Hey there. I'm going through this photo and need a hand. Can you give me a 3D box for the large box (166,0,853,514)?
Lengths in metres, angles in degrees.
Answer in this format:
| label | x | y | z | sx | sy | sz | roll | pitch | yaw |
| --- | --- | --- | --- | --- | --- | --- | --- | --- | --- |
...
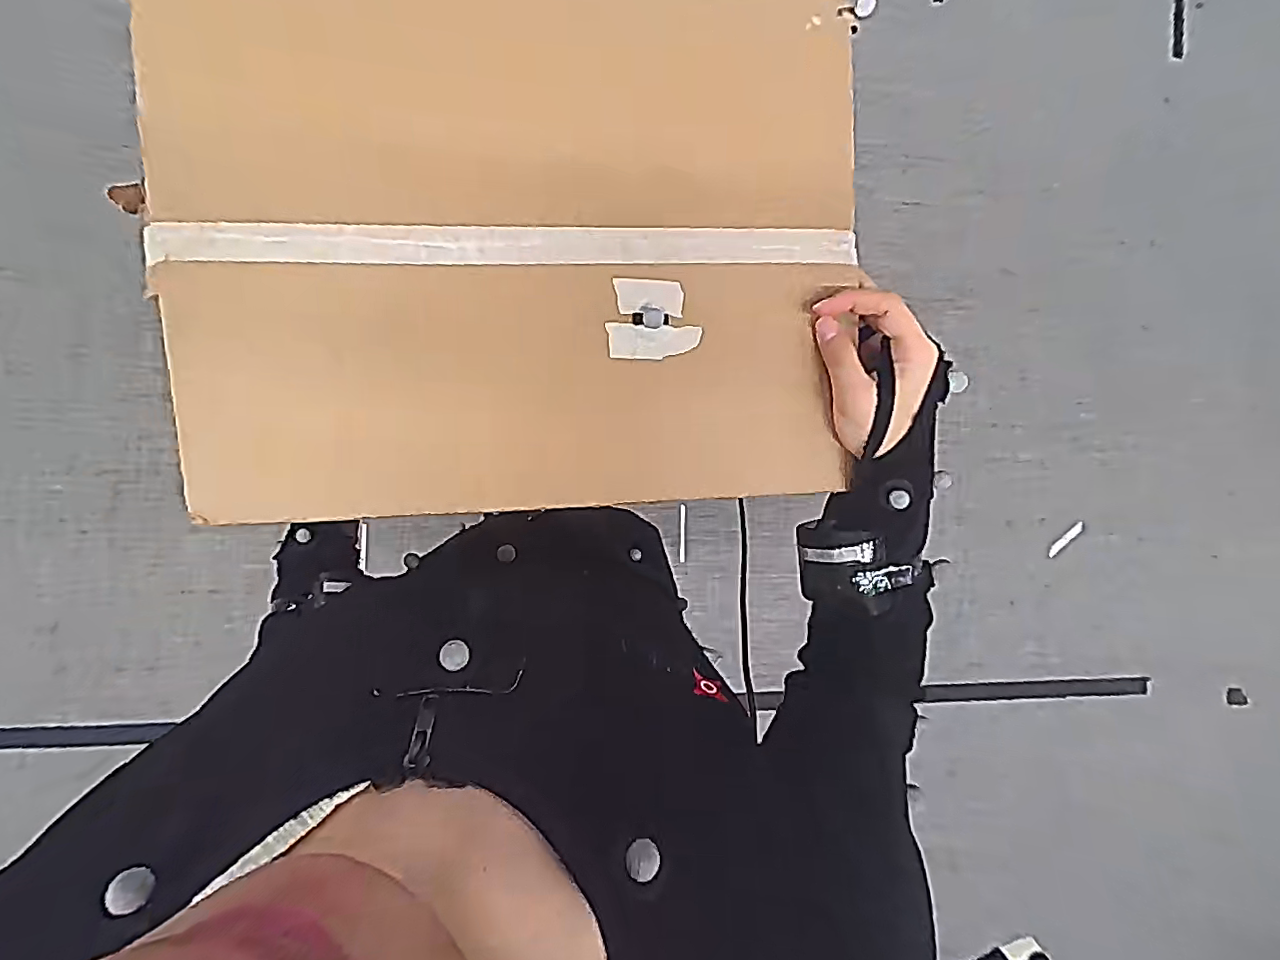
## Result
| label | x | y | z | sx | sy | sz | roll | pitch | yaw |
| --- | --- | --- | --- | --- | --- | --- | --- | --- | --- |
| large box | -0.080 | -0.155 | 0.476 | 0.408 | 0.320 | 0.320 | -3 | 95 | -10 |
